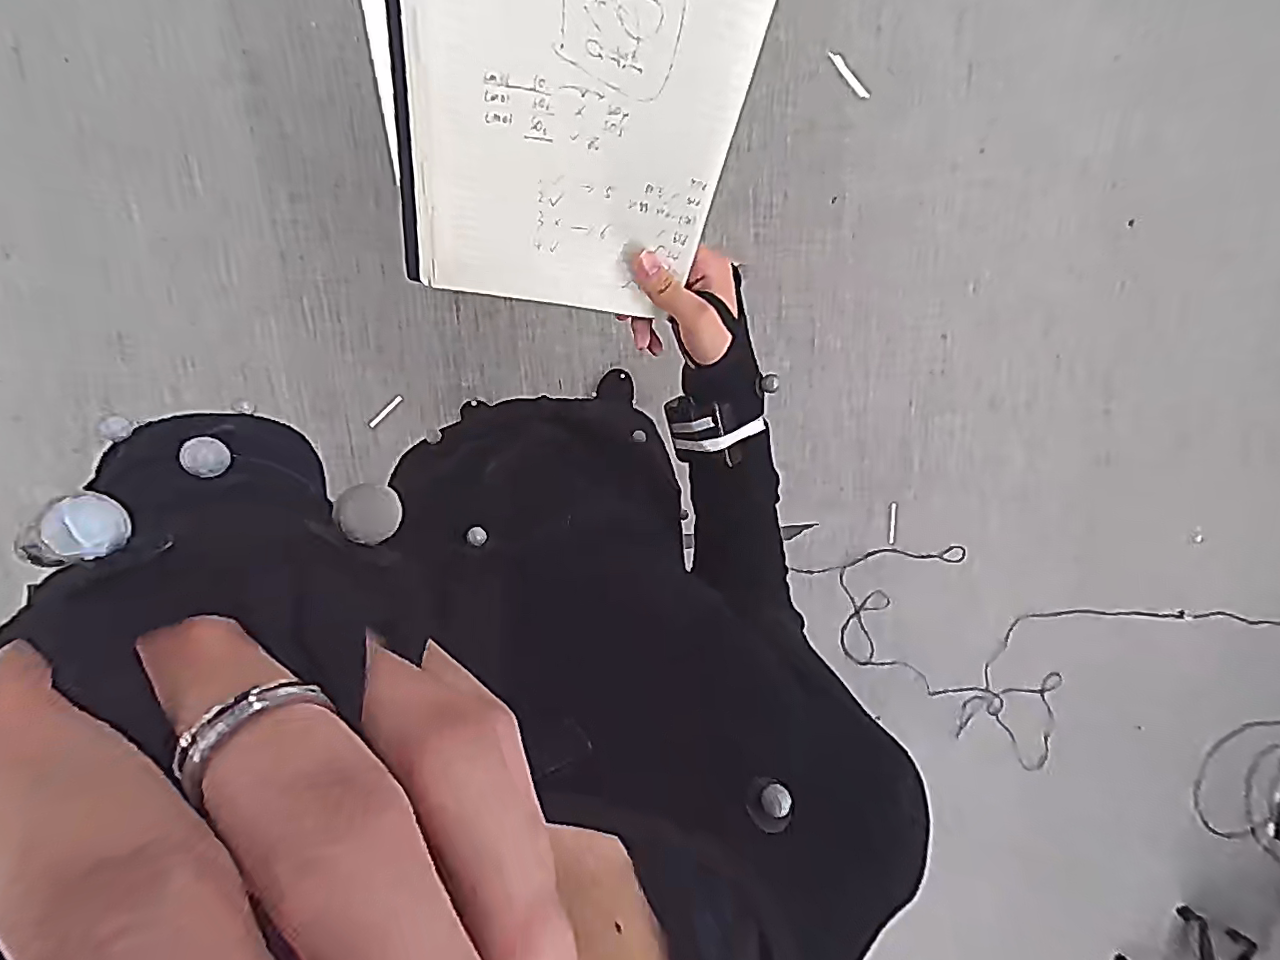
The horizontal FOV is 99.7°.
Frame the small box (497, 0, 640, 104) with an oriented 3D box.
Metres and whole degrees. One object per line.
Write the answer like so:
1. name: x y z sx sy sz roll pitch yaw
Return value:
1. small box: -0.113 -0.692 0.792 0.179 0.176 0.168 -16 103 -4
